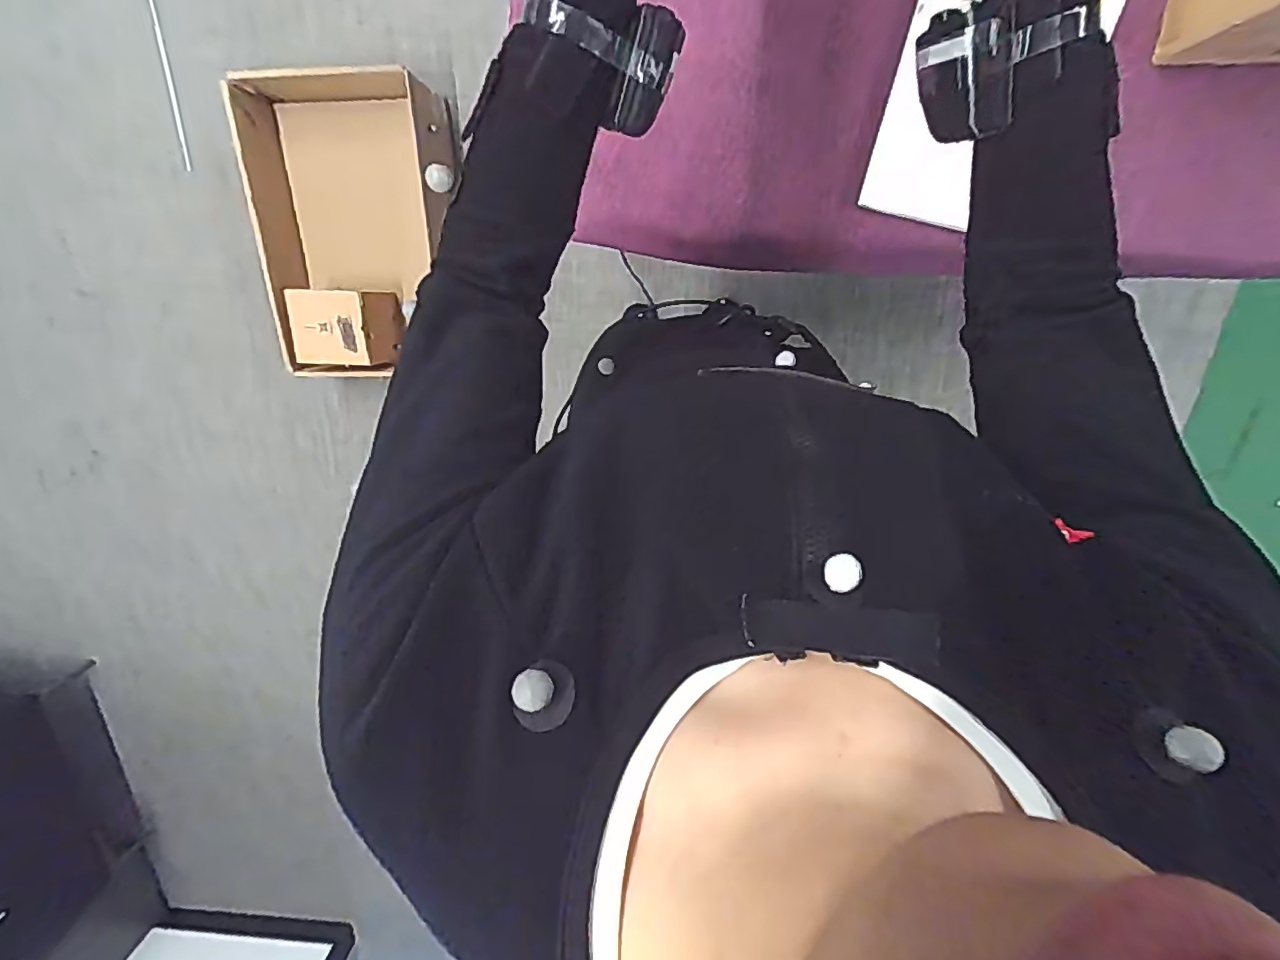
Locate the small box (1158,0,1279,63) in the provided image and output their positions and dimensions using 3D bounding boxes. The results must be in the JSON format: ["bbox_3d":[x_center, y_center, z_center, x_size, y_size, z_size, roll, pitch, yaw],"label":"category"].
[{"bbox_3d":[0.599,-0.477,0.450,0.168,0.176,0.179,2,108,4],"label":"small box"}]
